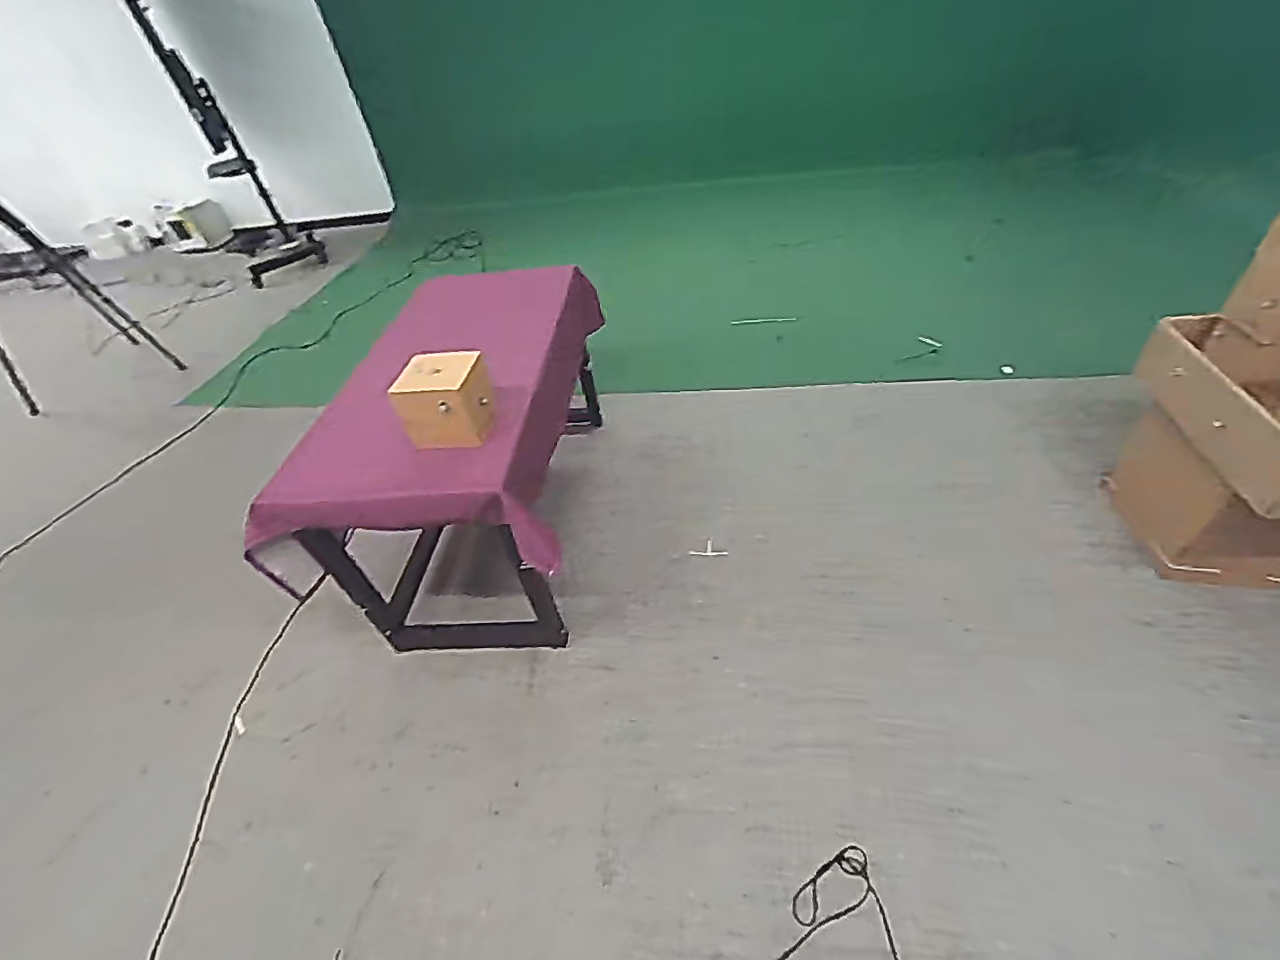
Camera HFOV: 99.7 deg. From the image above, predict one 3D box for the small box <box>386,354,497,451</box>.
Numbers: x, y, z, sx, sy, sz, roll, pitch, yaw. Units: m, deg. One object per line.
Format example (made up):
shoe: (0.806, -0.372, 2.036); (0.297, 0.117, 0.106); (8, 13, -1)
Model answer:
small box: (-0.469, -0.185, 1.312); (0.179, 0.176, 0.168); (-2, 43, 9)

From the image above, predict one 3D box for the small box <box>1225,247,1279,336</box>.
small box: (1.630, -0.472, 1.342); (0.179, 0.176, 0.168); (-3, 44, 7)

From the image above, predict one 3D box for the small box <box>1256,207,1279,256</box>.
small box: (1.611, -0.598, 1.240); (0.168, 0.176, 0.179); (-4, 45, 7)
